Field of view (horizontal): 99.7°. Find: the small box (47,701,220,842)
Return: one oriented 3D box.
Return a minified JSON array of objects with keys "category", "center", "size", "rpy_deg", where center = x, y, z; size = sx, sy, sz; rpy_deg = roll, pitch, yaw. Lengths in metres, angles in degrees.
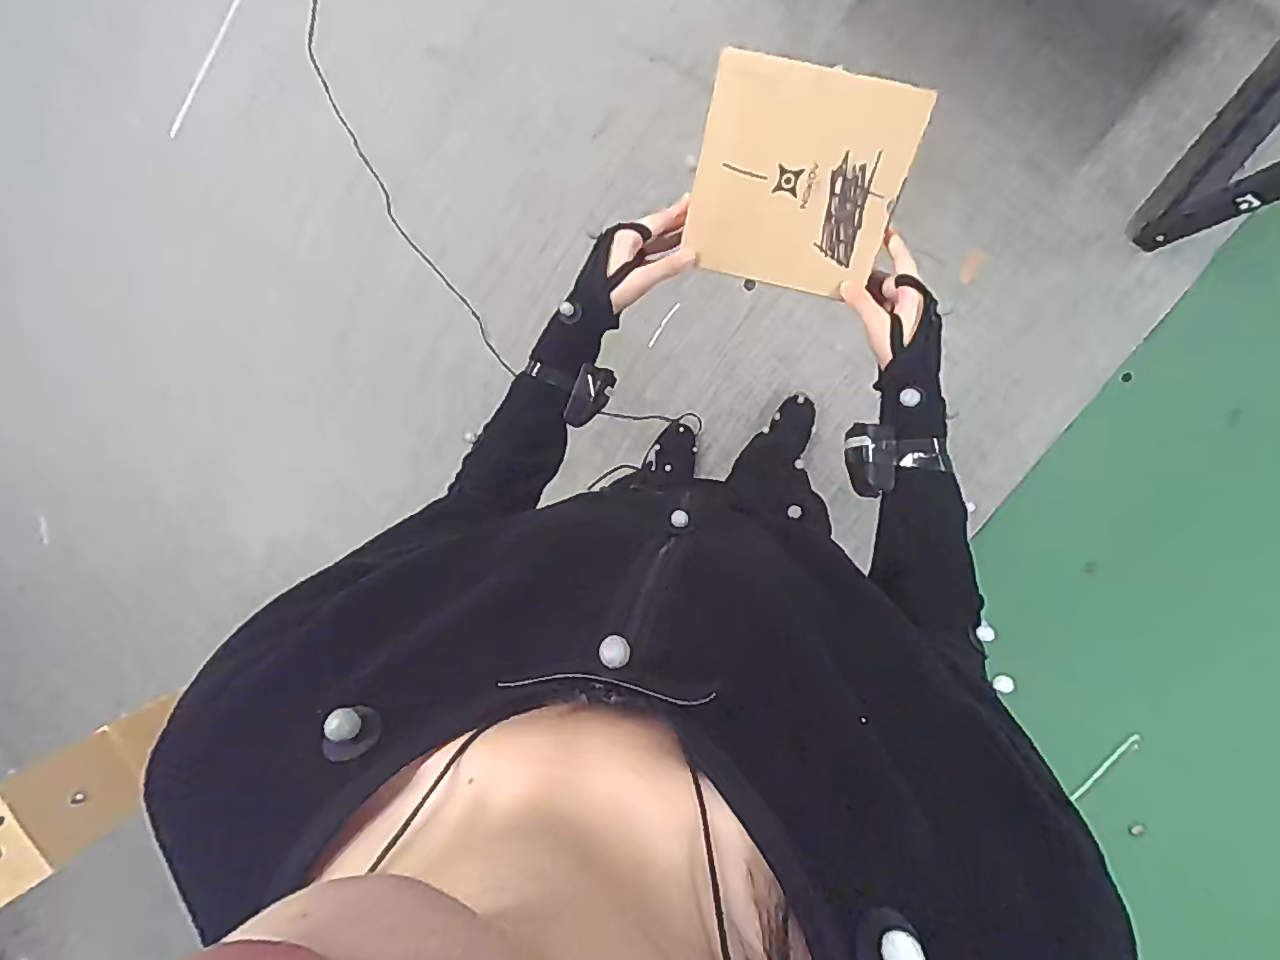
[{"category":"small box","center":[-1.046,0.592,1.130],"size":[0.168,0.176,0.179],"rpy_deg":[-33,91,10]}]

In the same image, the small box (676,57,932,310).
[{"category":"small box","center":[0.142,-0.281,0.537],"size":[0.179,0.176,0.168],"rpy_deg":[13,115,1]}]
